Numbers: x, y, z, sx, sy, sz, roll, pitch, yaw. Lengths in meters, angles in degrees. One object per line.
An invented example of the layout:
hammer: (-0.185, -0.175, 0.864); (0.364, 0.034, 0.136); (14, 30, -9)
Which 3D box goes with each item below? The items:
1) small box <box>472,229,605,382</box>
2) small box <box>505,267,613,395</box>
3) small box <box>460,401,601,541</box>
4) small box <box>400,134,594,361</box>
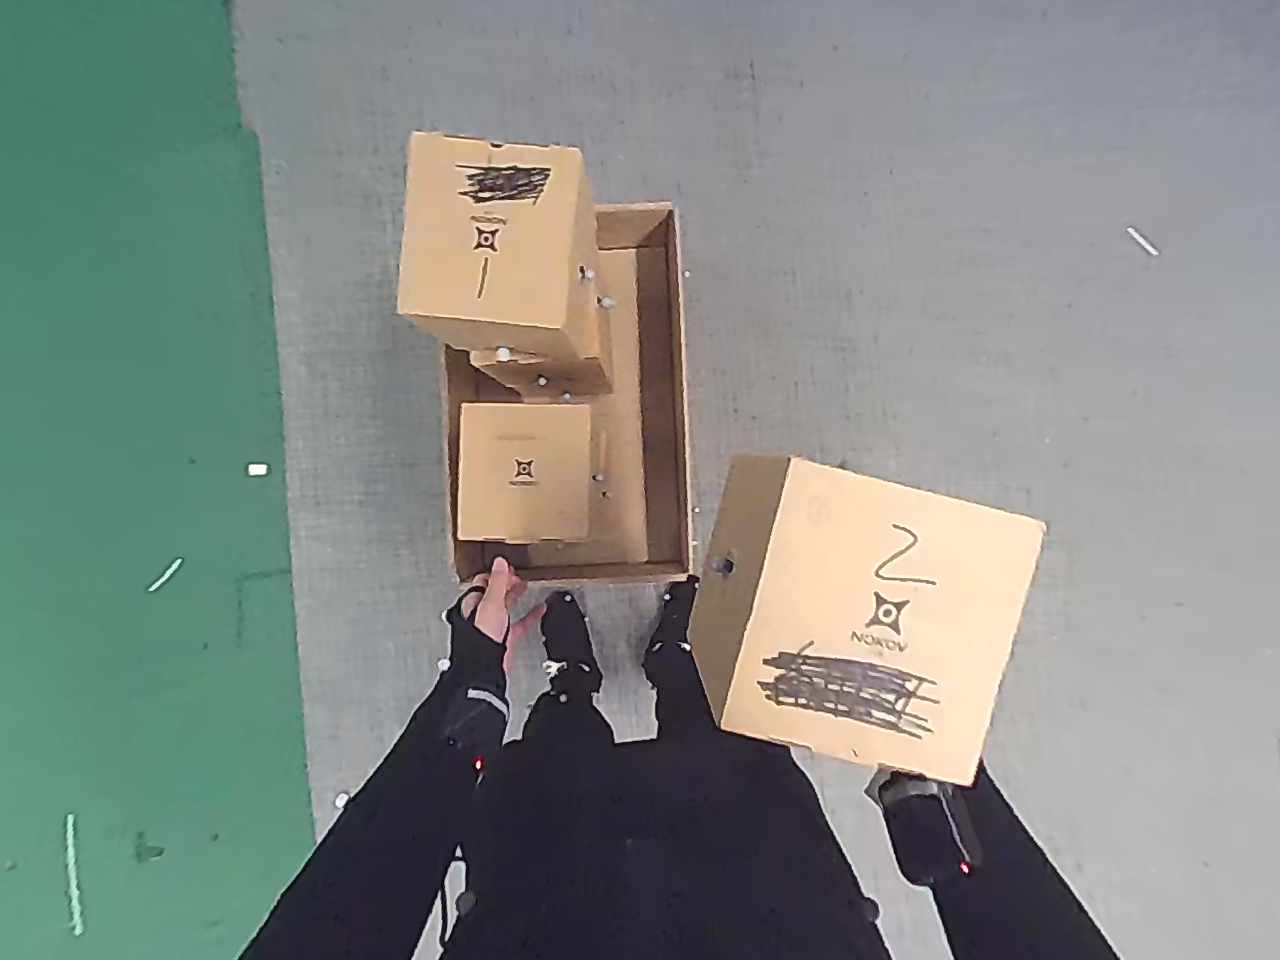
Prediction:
small box: (-0.139, -0.243, 0.770); (0.168, 0.176, 0.179); (-4, 92, 0)
small box: (-0.136, -0.248, 0.932); (0.168, 0.176, 0.179); (-3, 91, 1)
small box: (-0.143, -0.010, 0.764); (0.168, 0.176, 0.179); (1, 88, 0)
small box: (-0.145, -0.243, 0.605); (0.168, 0.176, 0.179); (6, 92, 0)
